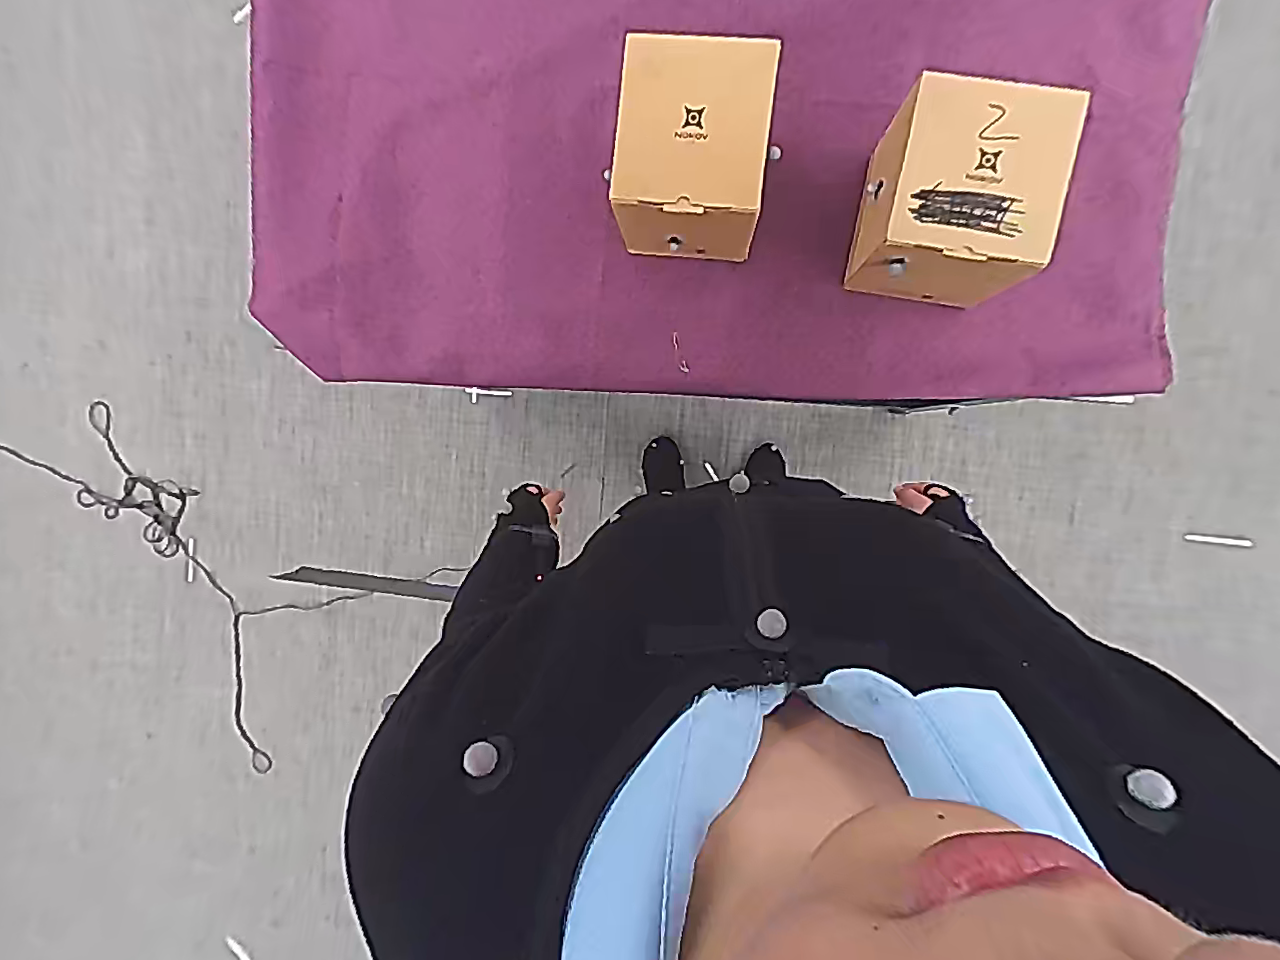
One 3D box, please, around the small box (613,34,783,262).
[{"bbox_3d":[0.067,-0.387,0.657,0.168,0.176,0.179,7,96,5],"label":"small box"}]
